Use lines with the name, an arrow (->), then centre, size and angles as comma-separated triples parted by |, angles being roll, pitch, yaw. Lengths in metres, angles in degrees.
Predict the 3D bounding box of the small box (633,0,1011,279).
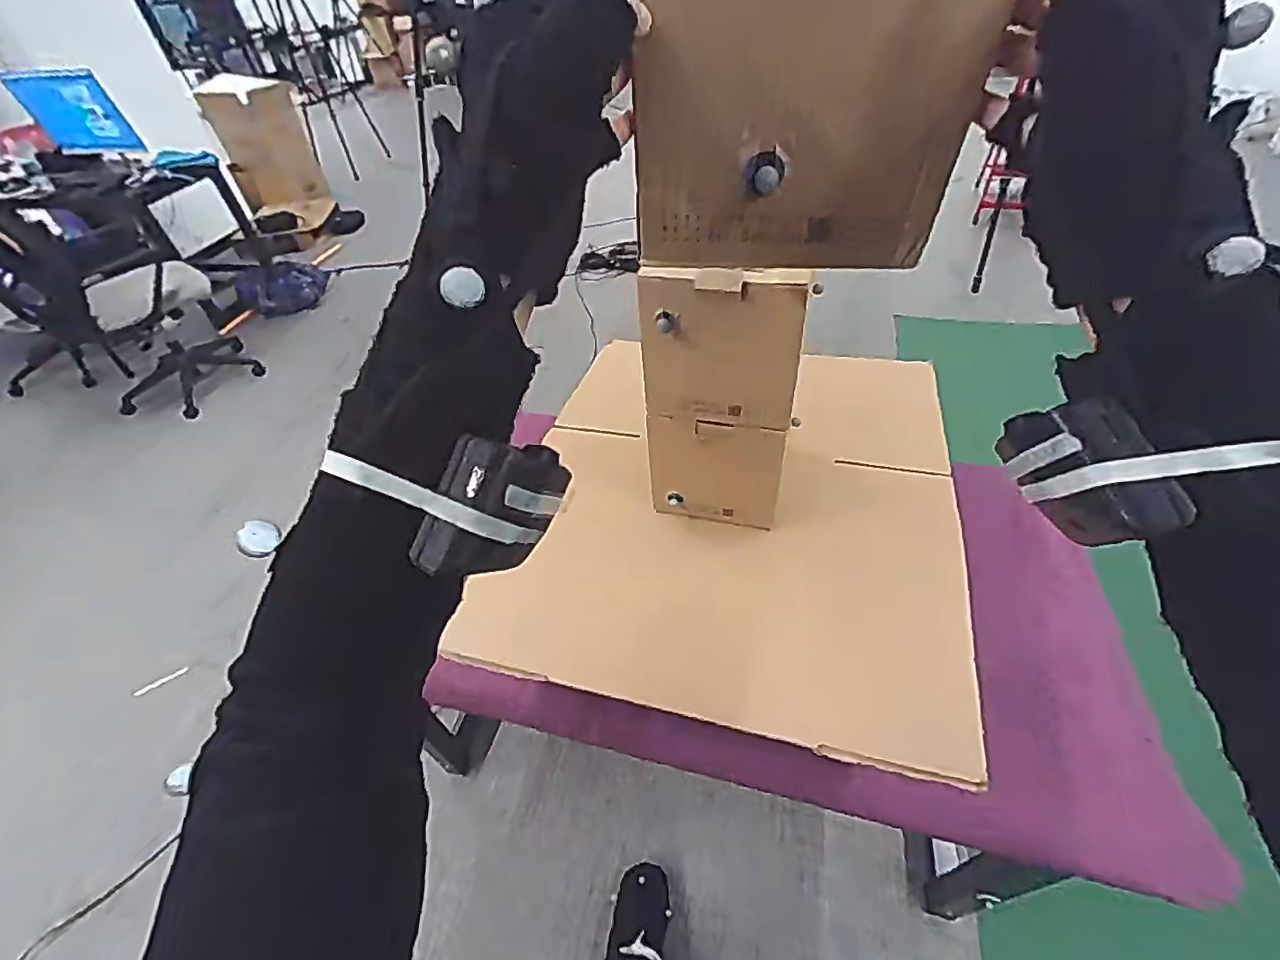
small box -> 0.084, -0.243, 0.322 | 0.168, 0.176, 0.179 | 2, 52, 5

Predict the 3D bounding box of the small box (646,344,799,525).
small box -> 0.115, -0.062, 0.731 | 0.168, 0.176, 0.179 | 8, 46, 15
